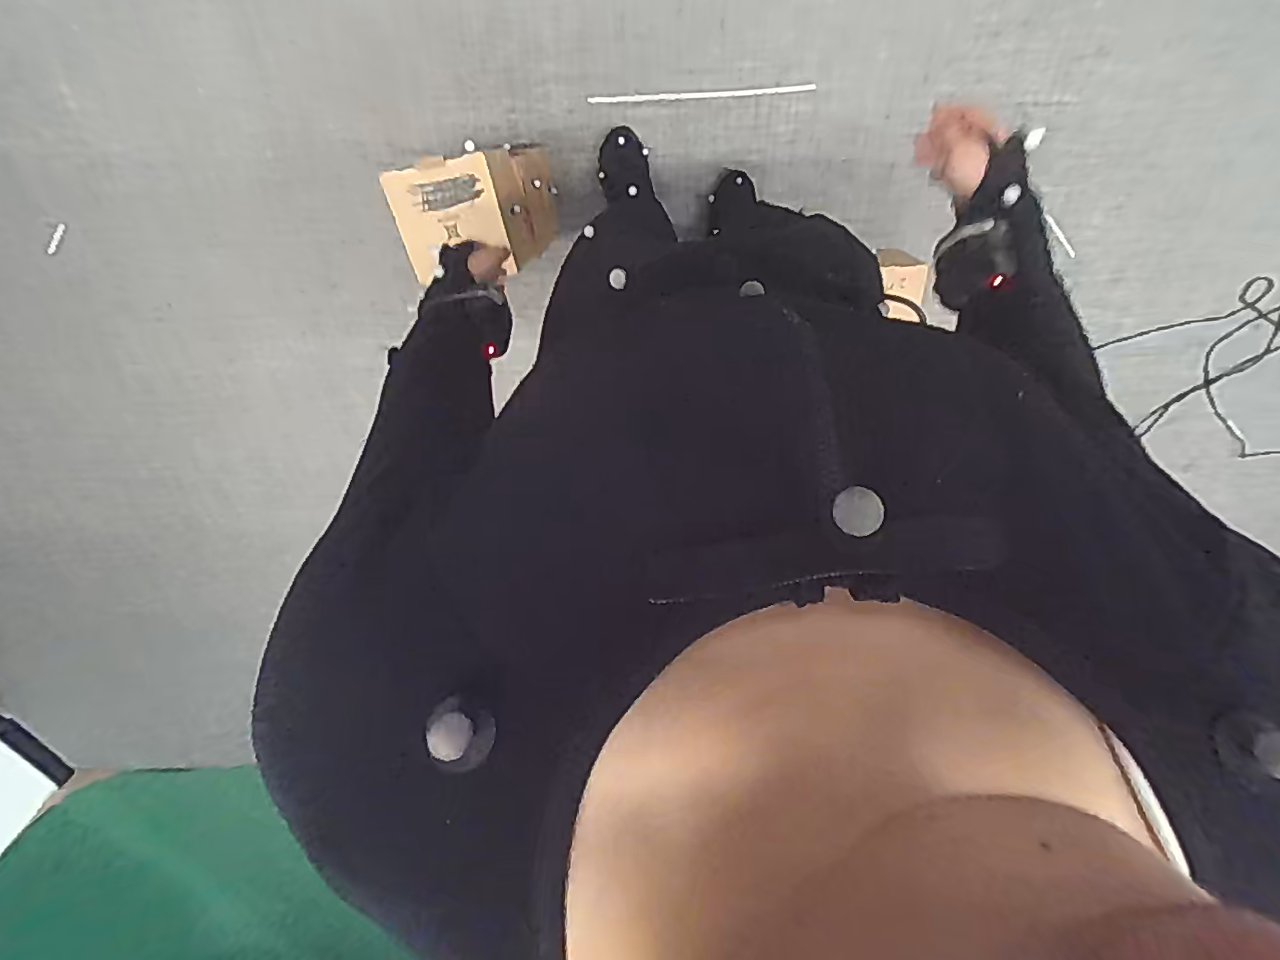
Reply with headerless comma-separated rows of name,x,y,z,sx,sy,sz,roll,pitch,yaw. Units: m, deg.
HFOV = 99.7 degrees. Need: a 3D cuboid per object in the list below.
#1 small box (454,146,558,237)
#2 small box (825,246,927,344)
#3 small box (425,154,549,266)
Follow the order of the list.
small box,-0.280,-0.626,1.181,0.179,0.176,0.168,-4,123,3
small box,0.546,-0.440,1.279,0.168,0.176,0.179,-4,124,3
small box,-0.282,-0.527,1.051,0.179,0.176,0.168,-5,122,6
